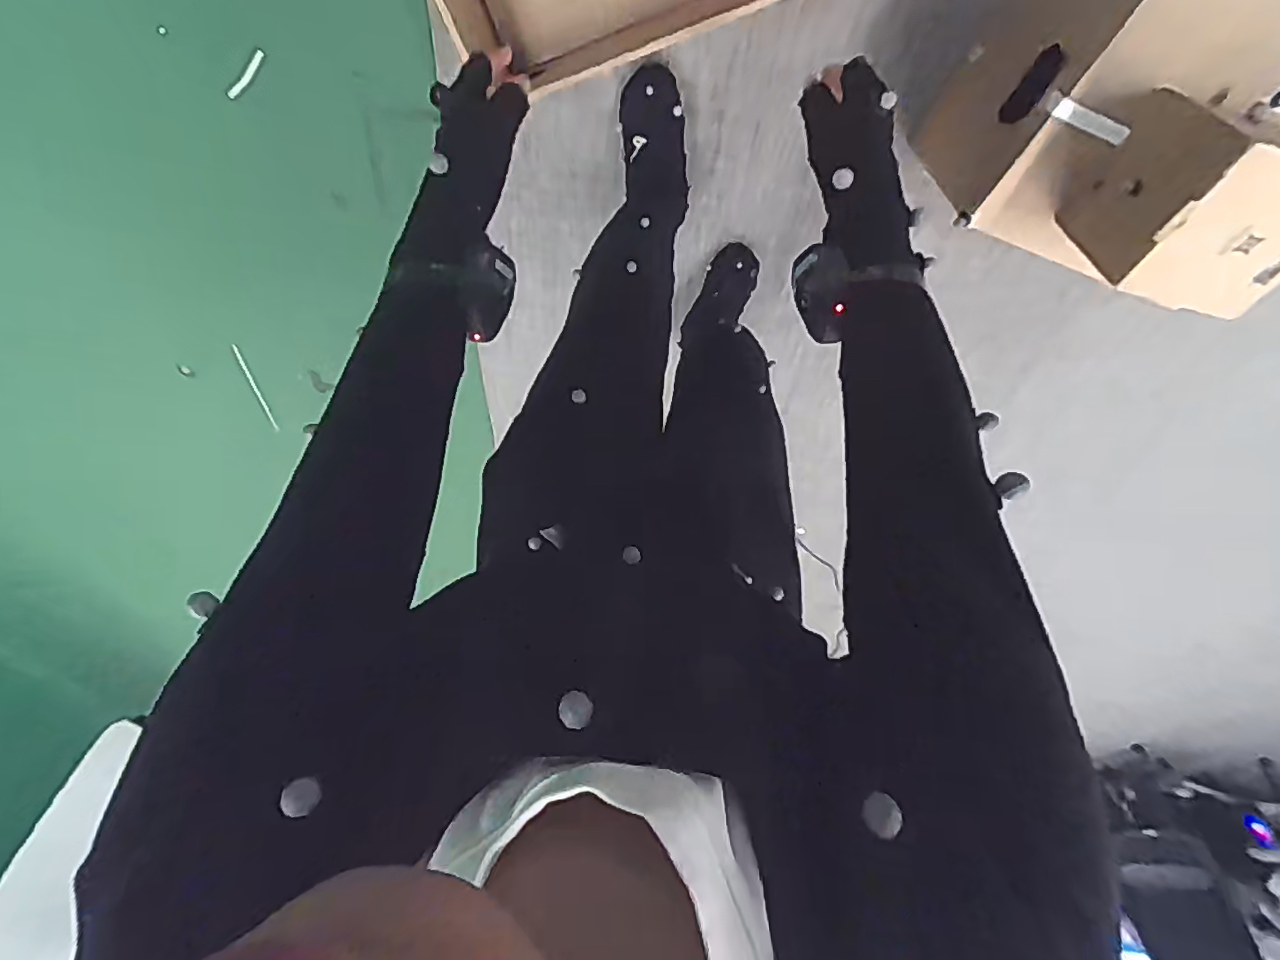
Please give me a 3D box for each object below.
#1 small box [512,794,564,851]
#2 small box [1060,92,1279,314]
[{"bbox_3d":[-0.403,1.368,2.159,0.168,0.176,0.179,5,142,1],"label":"small box"},{"bbox_3d":[0.668,-0.334,0.651,0.179,0.176,0.168,12,141,-7],"label":"small box"}]
